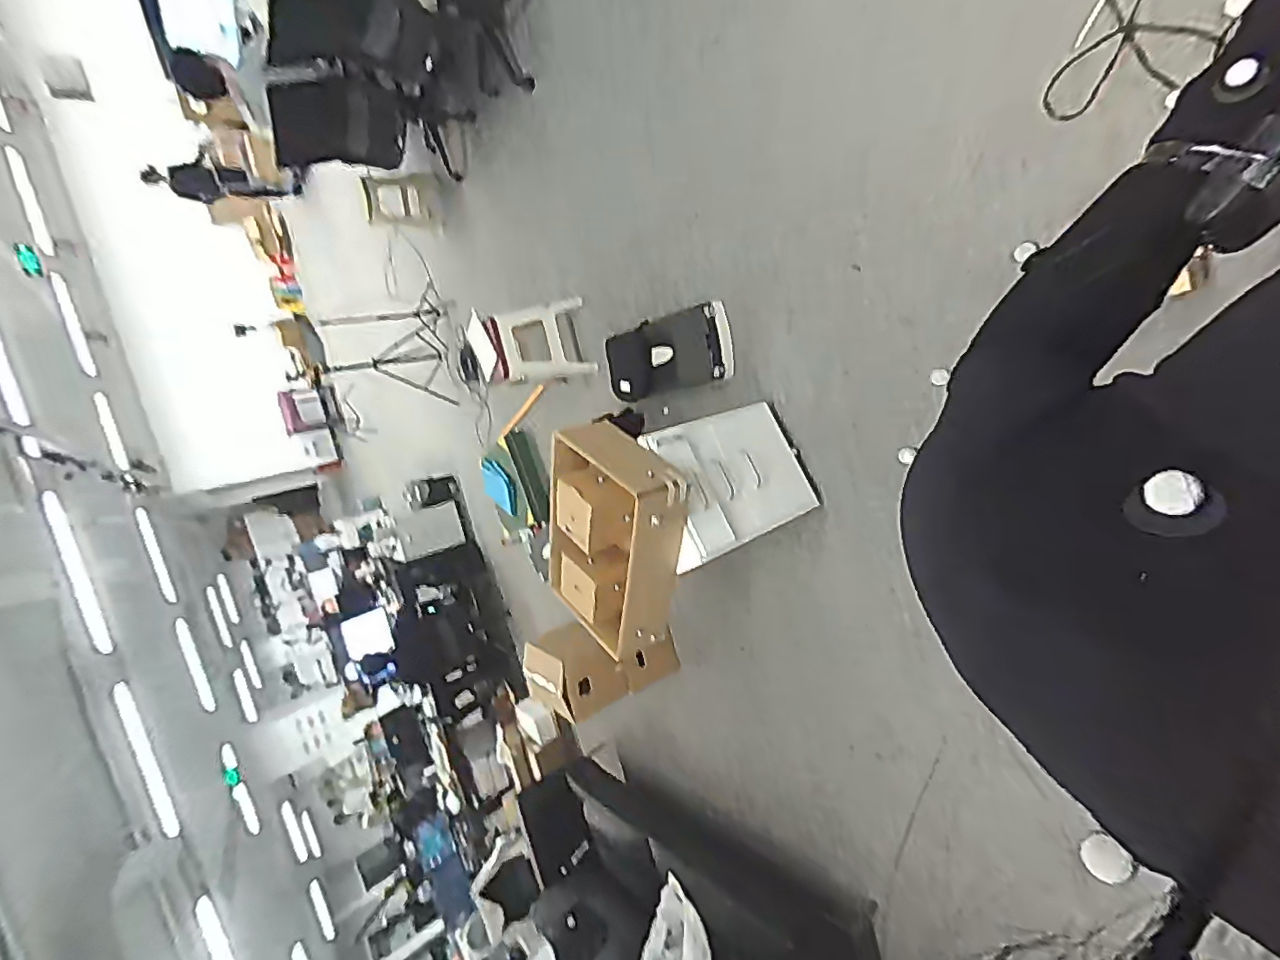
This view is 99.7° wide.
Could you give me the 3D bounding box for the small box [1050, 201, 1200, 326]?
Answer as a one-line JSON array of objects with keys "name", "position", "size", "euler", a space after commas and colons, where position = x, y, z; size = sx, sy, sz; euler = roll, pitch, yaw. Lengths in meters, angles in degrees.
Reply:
[{"name": "small box", "position": [0.938, -0.414, 1.042], "size": [0.179, 0.176, 0.168], "euler": [-13, 95, 55]}]
